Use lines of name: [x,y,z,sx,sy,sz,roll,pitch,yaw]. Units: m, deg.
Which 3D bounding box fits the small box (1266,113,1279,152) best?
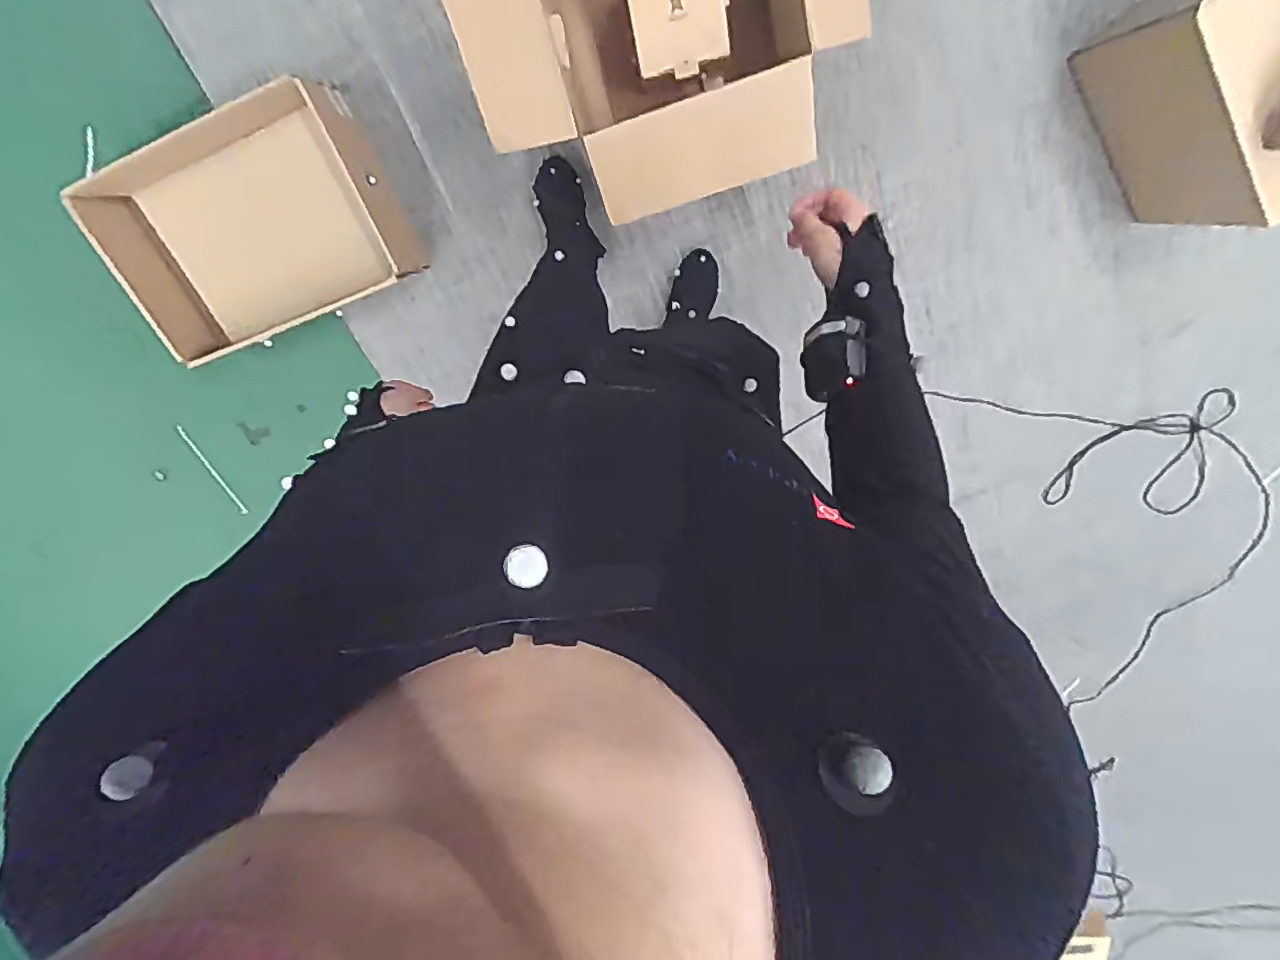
small box: [1.113,-0.581,0.791,0.179,0.176,0.168,3,117,4]
